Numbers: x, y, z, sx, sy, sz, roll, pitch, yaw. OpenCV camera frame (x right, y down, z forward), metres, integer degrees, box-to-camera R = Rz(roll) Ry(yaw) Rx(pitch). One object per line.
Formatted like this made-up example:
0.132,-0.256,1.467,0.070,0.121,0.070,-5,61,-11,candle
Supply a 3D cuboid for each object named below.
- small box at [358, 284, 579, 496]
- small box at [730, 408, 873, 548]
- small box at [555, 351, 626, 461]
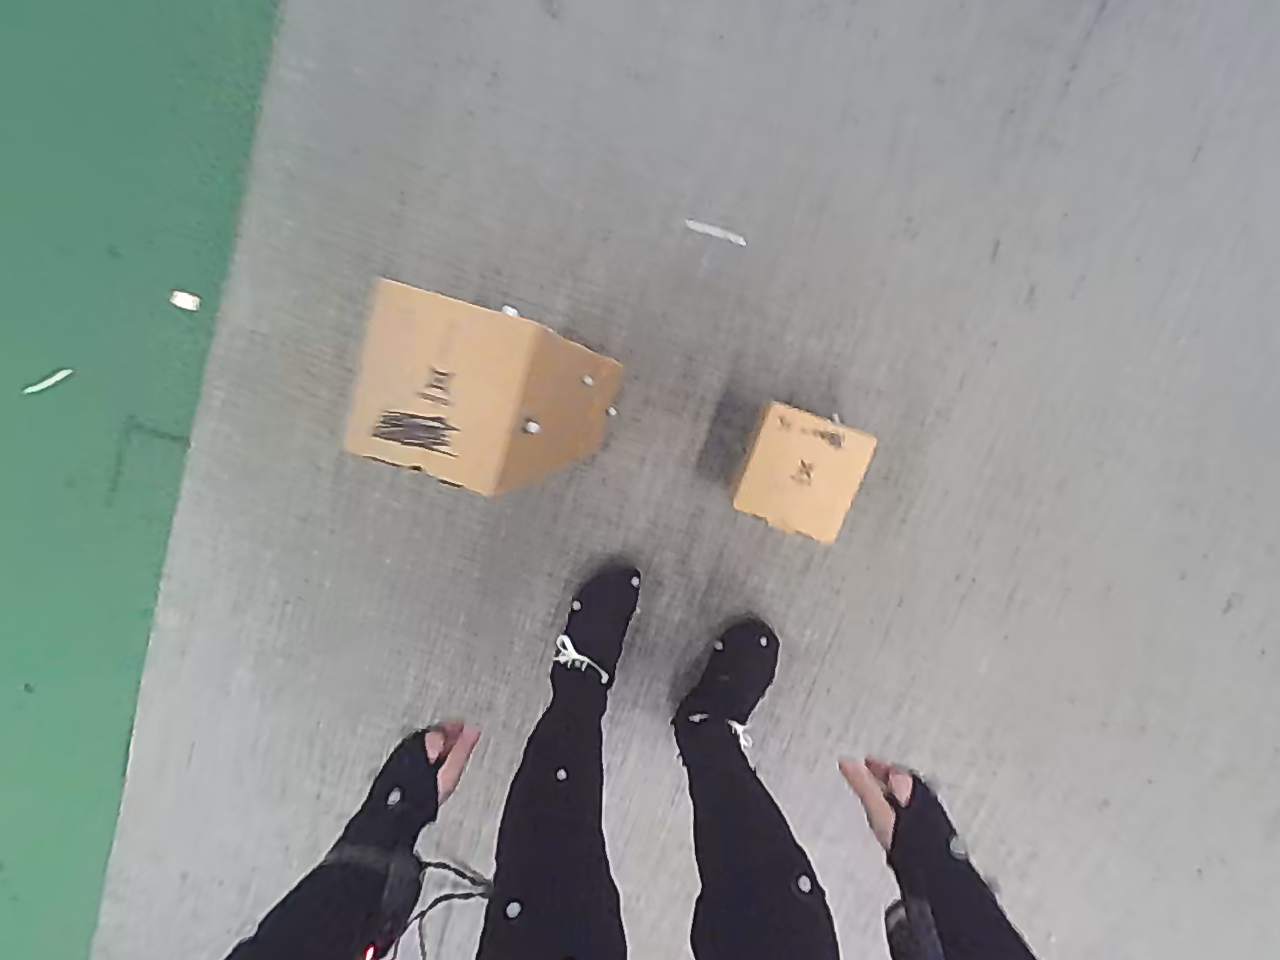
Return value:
-0.181,-0.097,0.620,0.168,0.176,0.179,18,97,5,small box
0.258,-0.011,0.908,0.168,0.176,0.179,21,99,4,small box
-0.138,-0.140,0.944,0.179,0.176,0.168,19,98,3,small box
